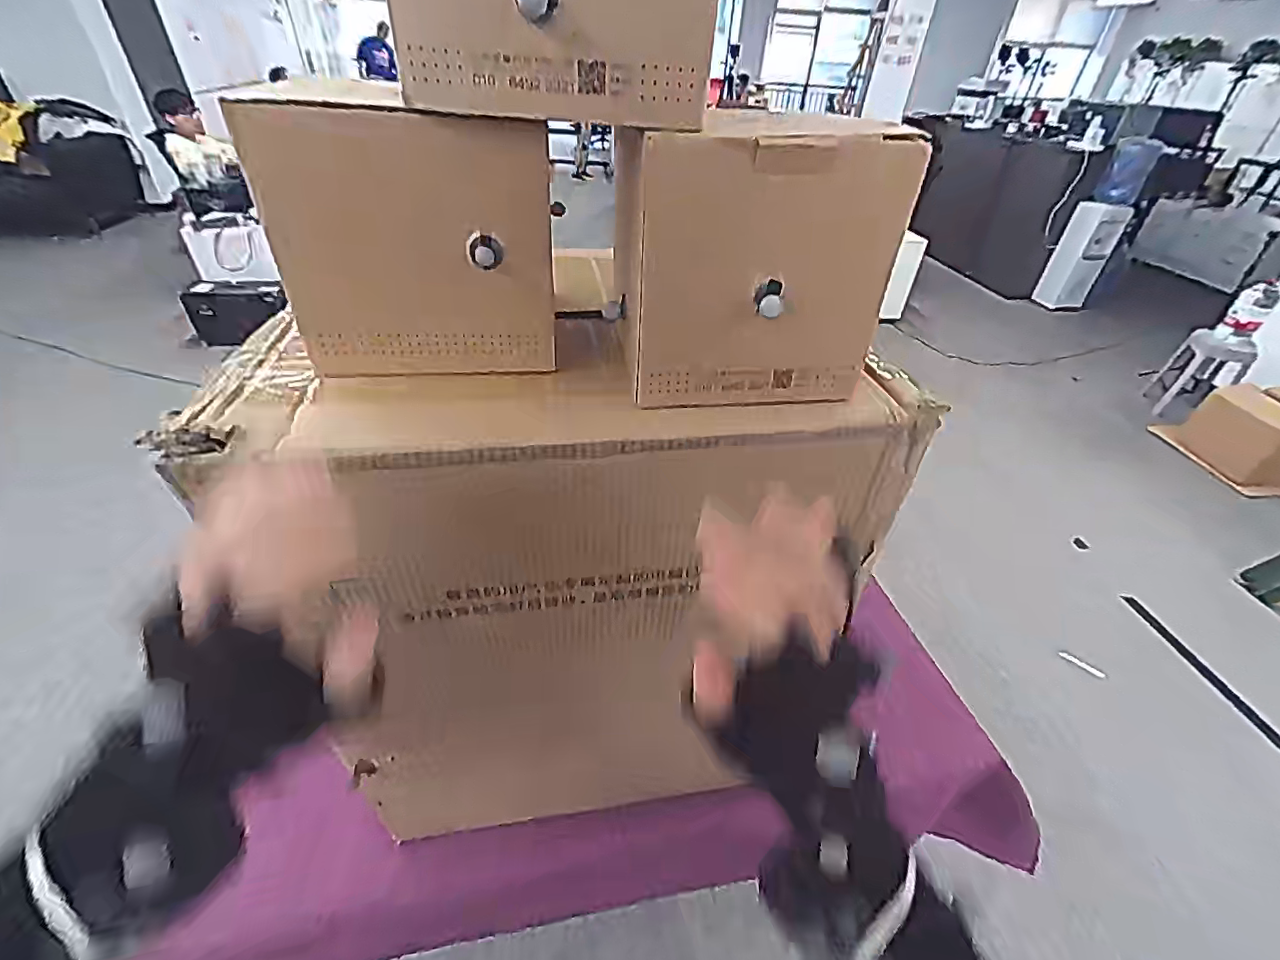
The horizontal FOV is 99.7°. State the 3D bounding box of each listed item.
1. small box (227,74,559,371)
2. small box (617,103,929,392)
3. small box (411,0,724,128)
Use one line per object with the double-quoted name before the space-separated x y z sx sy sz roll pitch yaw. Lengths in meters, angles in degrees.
"small box" -0.153 -0.194 0.411 0.179 0.176 0.168 -4 39 -10
"small box" 0.072 -0.176 0.408 0.168 0.176 0.179 -3 39 -7
"small box" -0.032 -0.314 0.310 0.168 0.176 0.179 5 39 1
